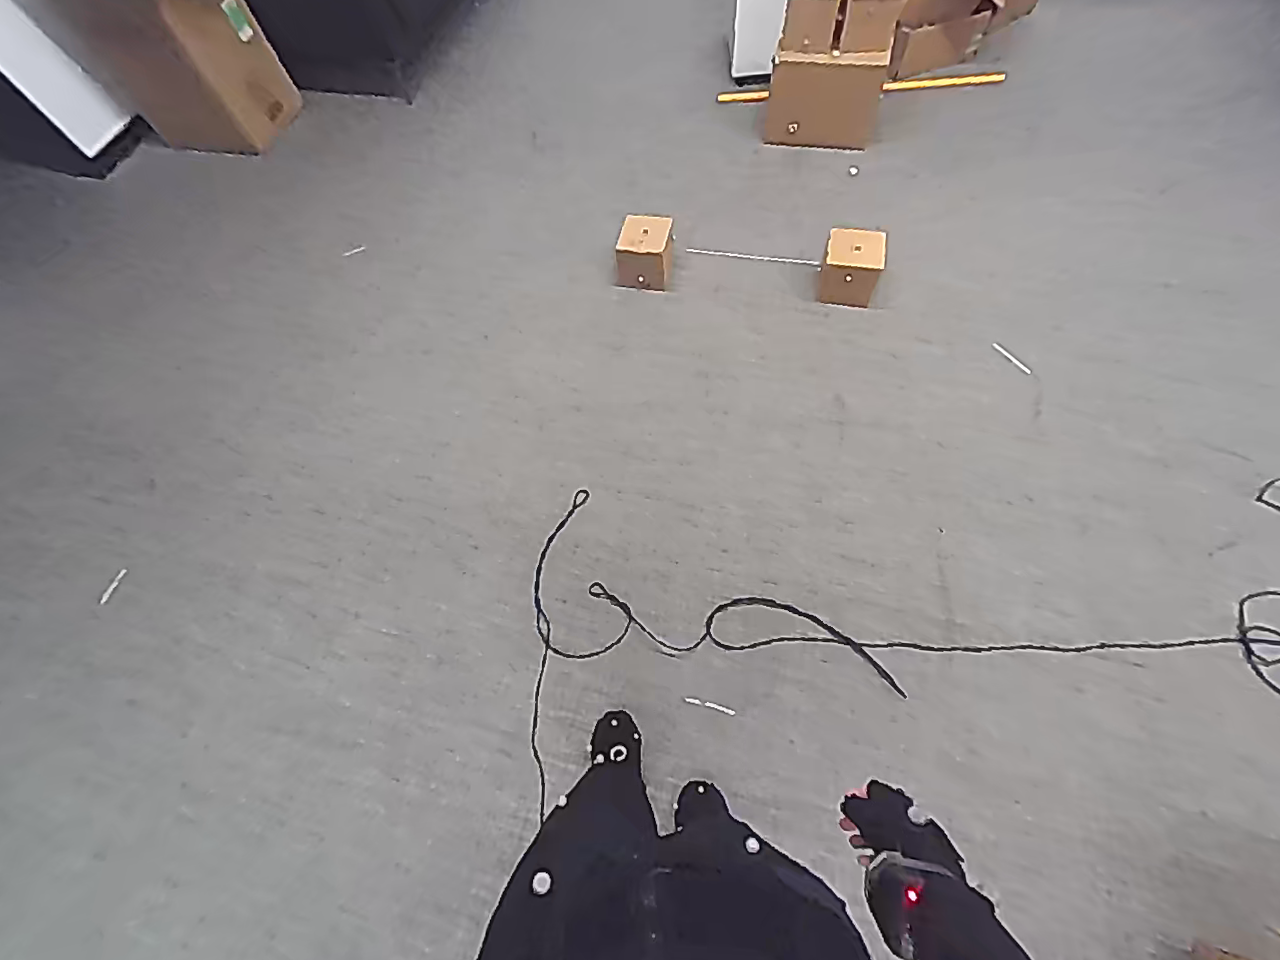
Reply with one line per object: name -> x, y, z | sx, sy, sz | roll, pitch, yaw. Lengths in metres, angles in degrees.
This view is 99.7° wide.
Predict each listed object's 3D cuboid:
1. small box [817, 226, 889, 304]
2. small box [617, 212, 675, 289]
small box -> 0.693, -0.698, 1.768 | 0.179, 0.176, 0.168 | 9, 66, 11
small box -> 0.025, -0.798, 1.884 | 0.168, 0.176, 0.179 | 9, 65, 11
